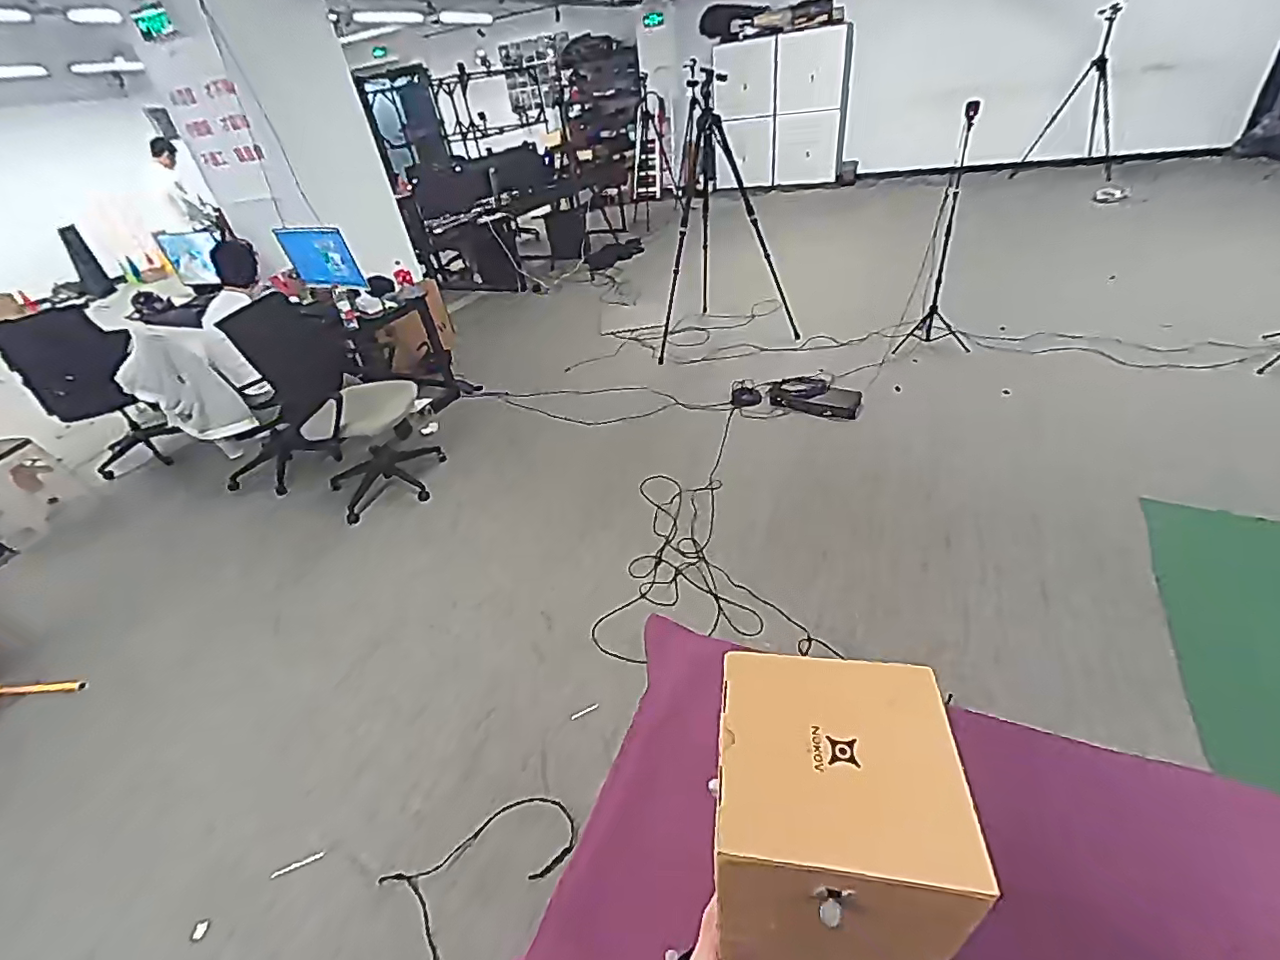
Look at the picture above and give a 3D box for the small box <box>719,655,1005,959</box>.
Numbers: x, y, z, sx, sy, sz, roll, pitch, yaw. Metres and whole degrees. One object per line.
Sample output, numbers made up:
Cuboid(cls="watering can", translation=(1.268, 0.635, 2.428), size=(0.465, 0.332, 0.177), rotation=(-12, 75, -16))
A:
Cuboid(cls="small box", translation=(0.160, 0.273, 0.453), size=(0.179, 0.176, 0.168), rotation=(1, 37, 12))
